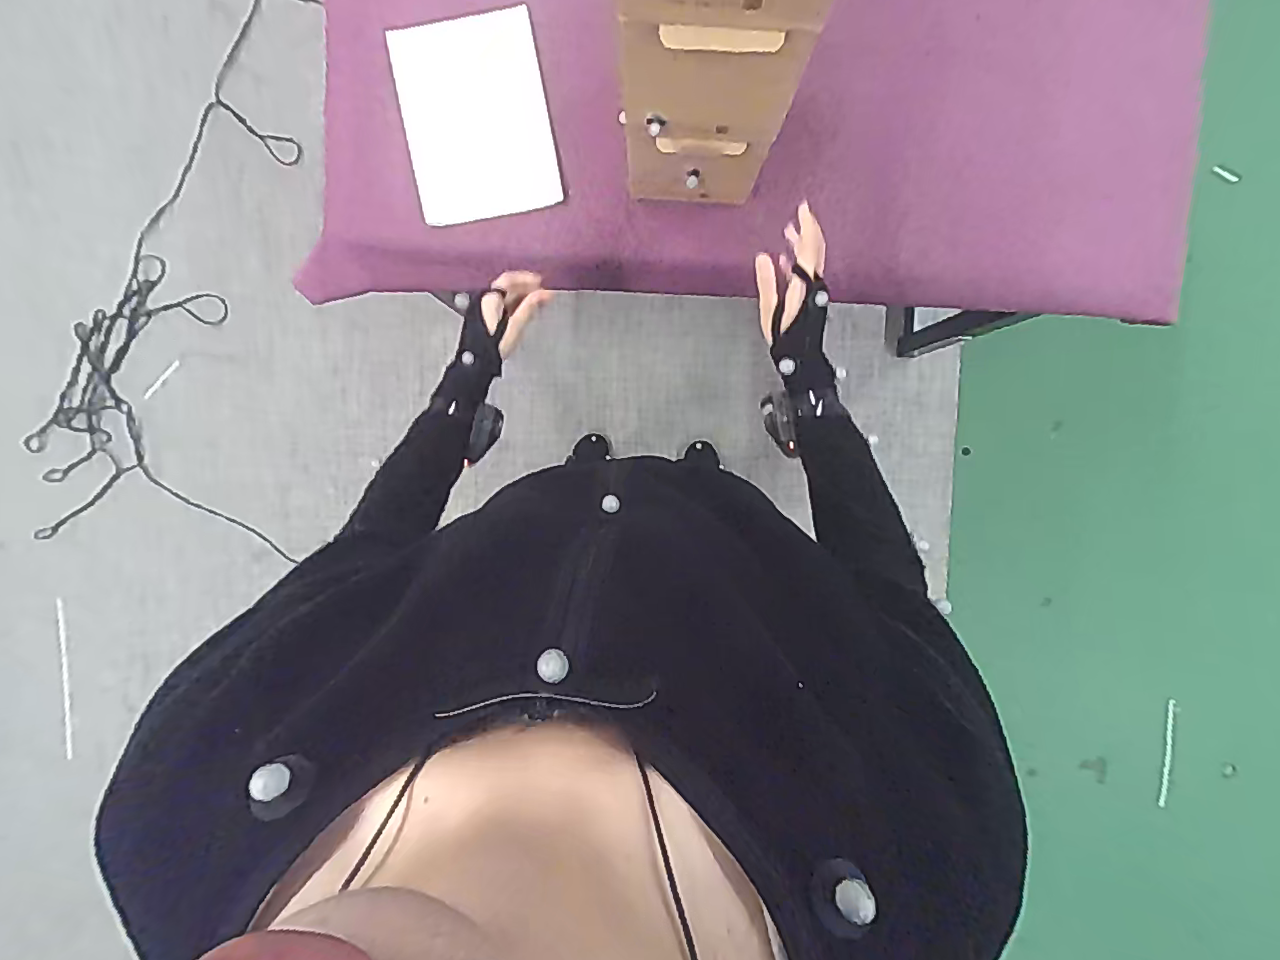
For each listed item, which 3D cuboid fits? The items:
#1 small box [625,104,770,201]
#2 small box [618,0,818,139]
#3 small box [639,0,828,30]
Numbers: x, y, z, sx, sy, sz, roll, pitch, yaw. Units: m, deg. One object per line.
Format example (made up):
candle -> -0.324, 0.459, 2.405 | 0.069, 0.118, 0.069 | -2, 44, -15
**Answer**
small box -> 0.071, -0.474, 0.679 | 0.168, 0.176, 0.179 | 3, 94, -1
small box -> 0.070, -0.459, 0.514 | 0.168, 0.176, 0.179 | 3, 92, 0
small box -> 0.070, -0.445, 0.352 | 0.168, 0.176, 0.179 | 4, 93, -1
